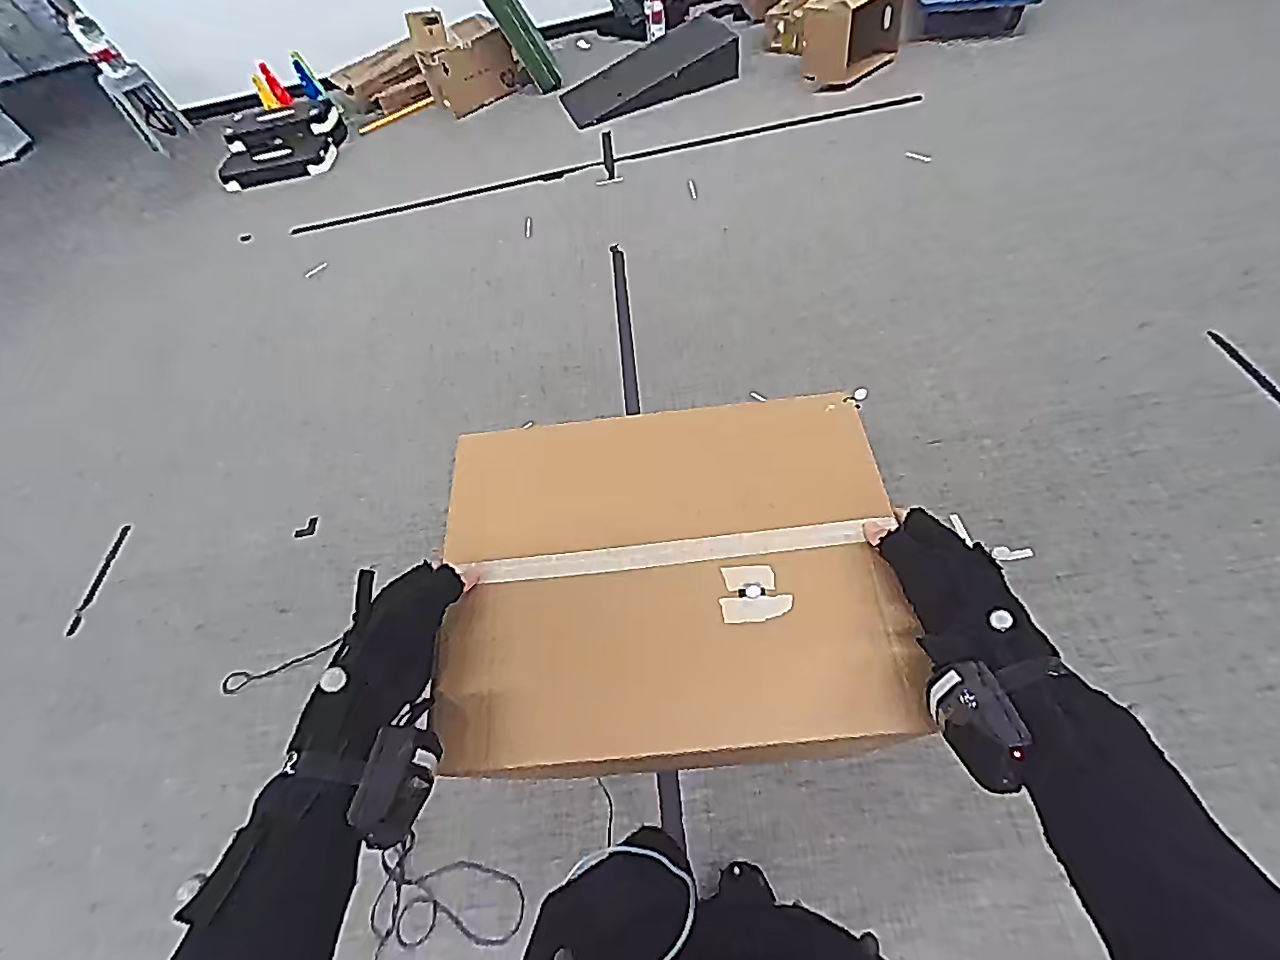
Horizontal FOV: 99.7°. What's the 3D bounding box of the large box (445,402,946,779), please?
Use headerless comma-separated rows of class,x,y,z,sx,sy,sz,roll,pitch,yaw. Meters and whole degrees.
large box,0.039,0.145,0.622,0.408,0.320,0.320,-6,60,1
